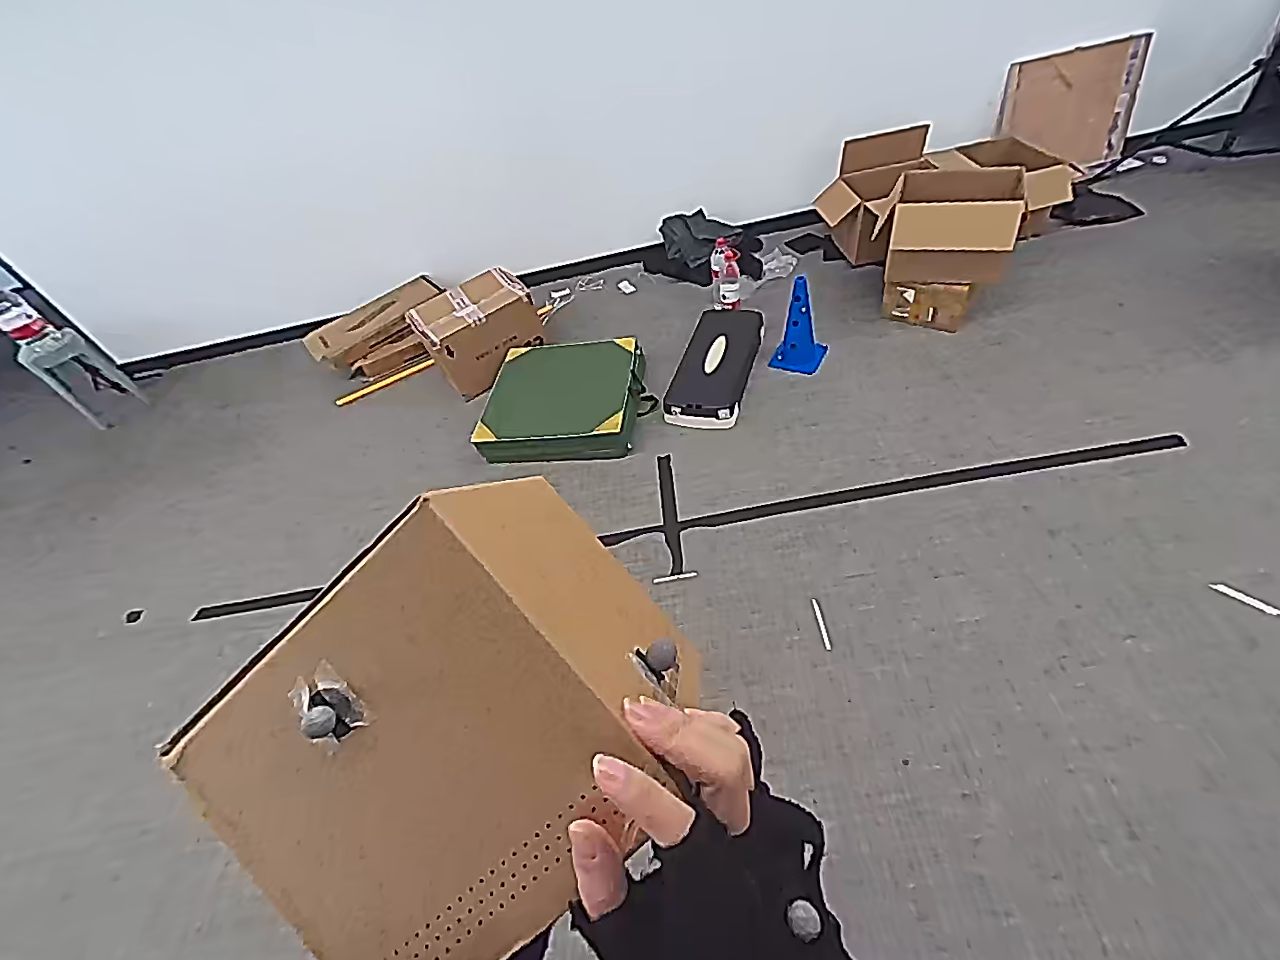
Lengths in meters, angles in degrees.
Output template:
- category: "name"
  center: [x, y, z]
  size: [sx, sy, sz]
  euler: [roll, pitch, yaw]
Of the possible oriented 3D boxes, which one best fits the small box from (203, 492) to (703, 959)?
- category: "small box"
  center: [-0.082, 0.130, 0.320]
  size: [0.179, 0.168, 0.176]
  euler: [-42, 88, 6]
